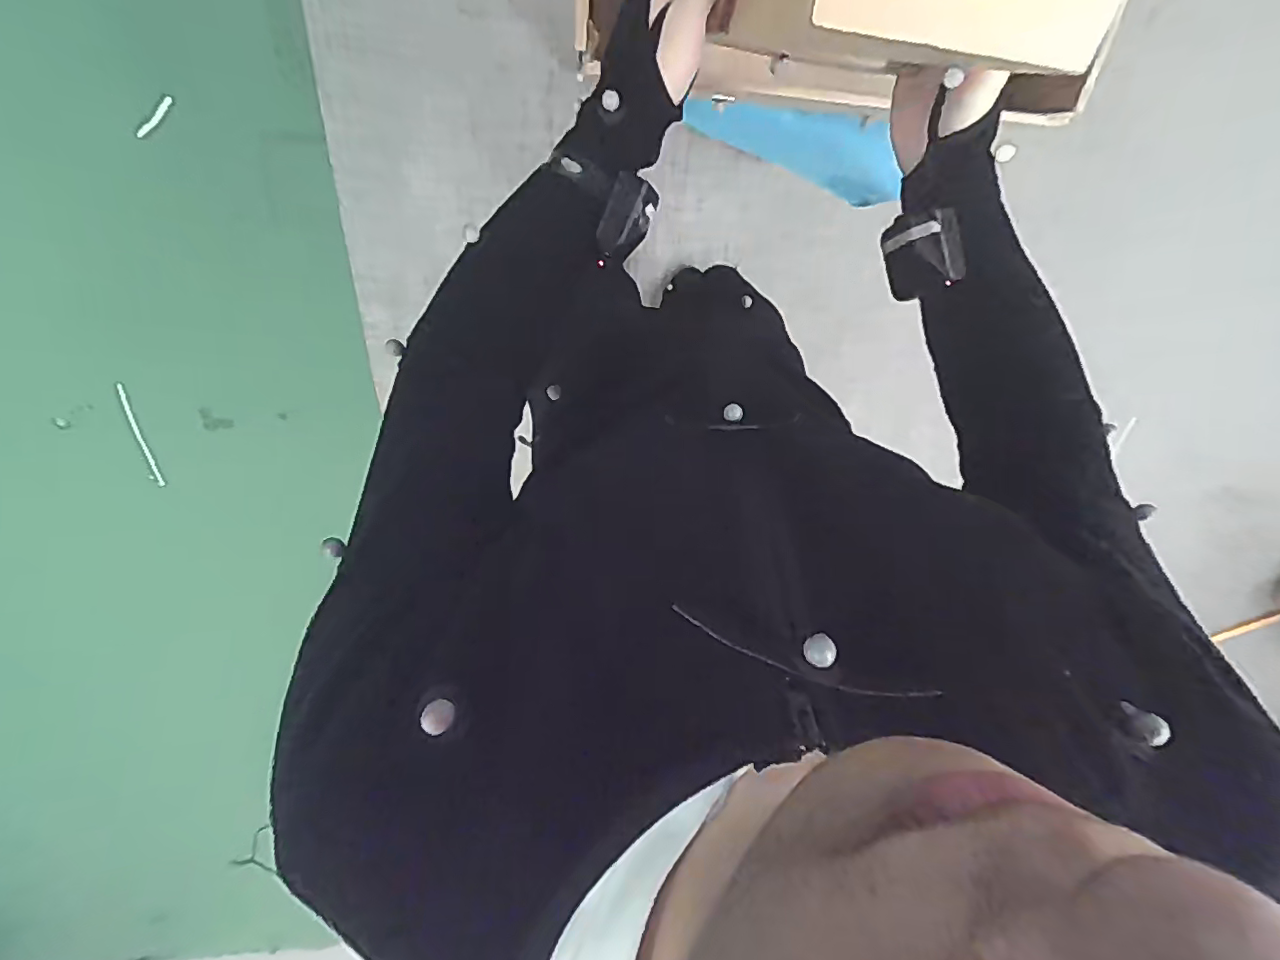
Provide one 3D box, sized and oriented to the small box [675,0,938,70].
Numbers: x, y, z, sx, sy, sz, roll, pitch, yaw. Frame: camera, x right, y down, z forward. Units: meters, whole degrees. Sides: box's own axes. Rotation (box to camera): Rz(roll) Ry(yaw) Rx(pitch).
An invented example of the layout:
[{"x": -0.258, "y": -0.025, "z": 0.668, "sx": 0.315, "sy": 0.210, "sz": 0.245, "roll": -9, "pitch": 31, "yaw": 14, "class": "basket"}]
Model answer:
[{"x": 0.139, "y": -0.451, "z": 0.434, "sx": 0.179, "sy": 0.176, "sz": 0.168, "roll": 2, "pitch": 128, "yaw": -11, "class": "small box"}]
